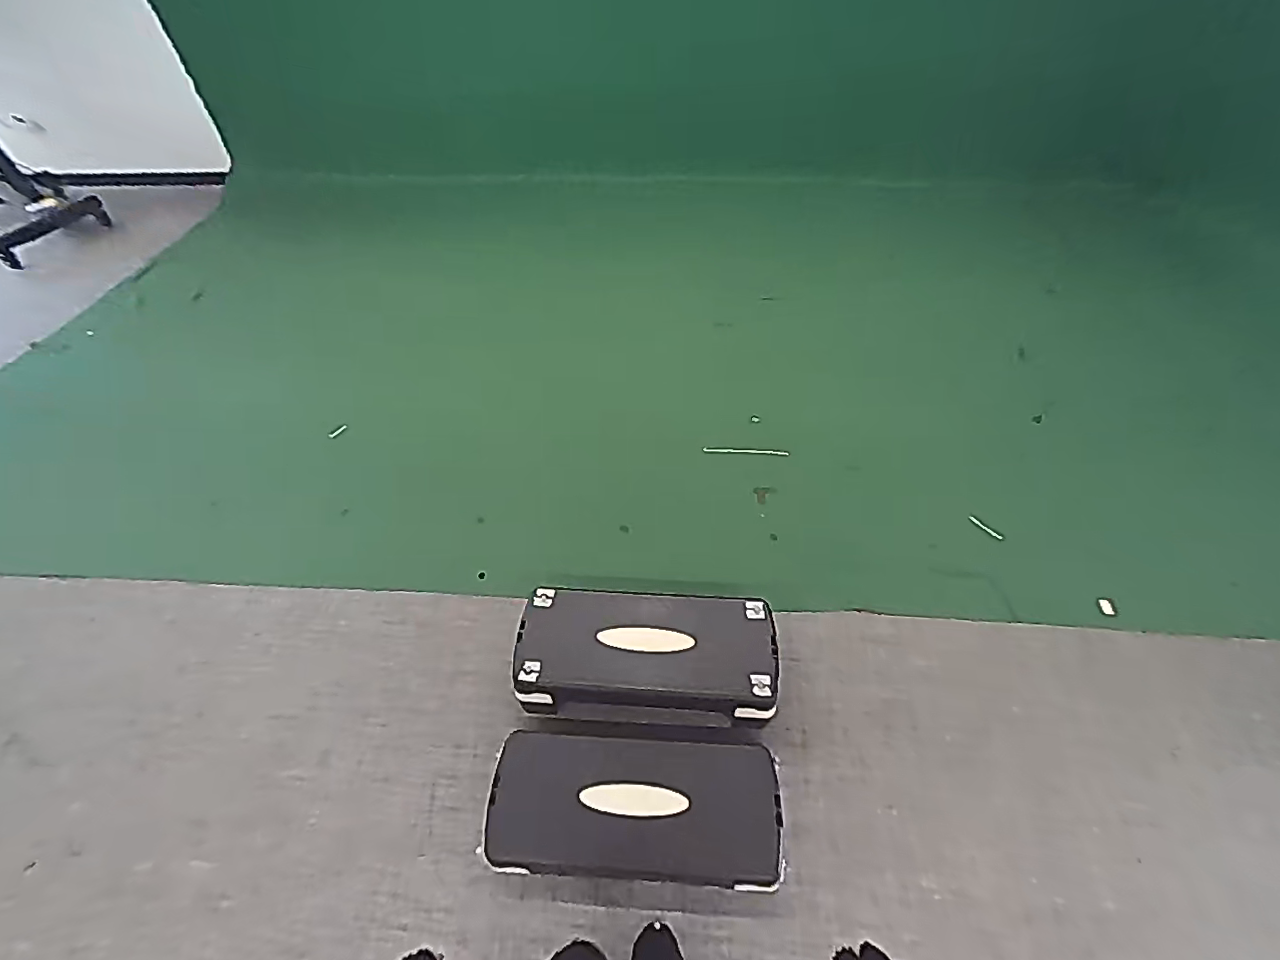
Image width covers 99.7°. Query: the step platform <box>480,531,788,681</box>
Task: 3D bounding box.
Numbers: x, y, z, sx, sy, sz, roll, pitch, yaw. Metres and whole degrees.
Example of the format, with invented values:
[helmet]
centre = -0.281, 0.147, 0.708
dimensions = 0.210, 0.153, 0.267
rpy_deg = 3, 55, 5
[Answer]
[step platform]
centre = -0.010, 0.302, 1.292
dimensions = 0.684, 0.204, 0.286
rpy_deg = 2, 50, 4
